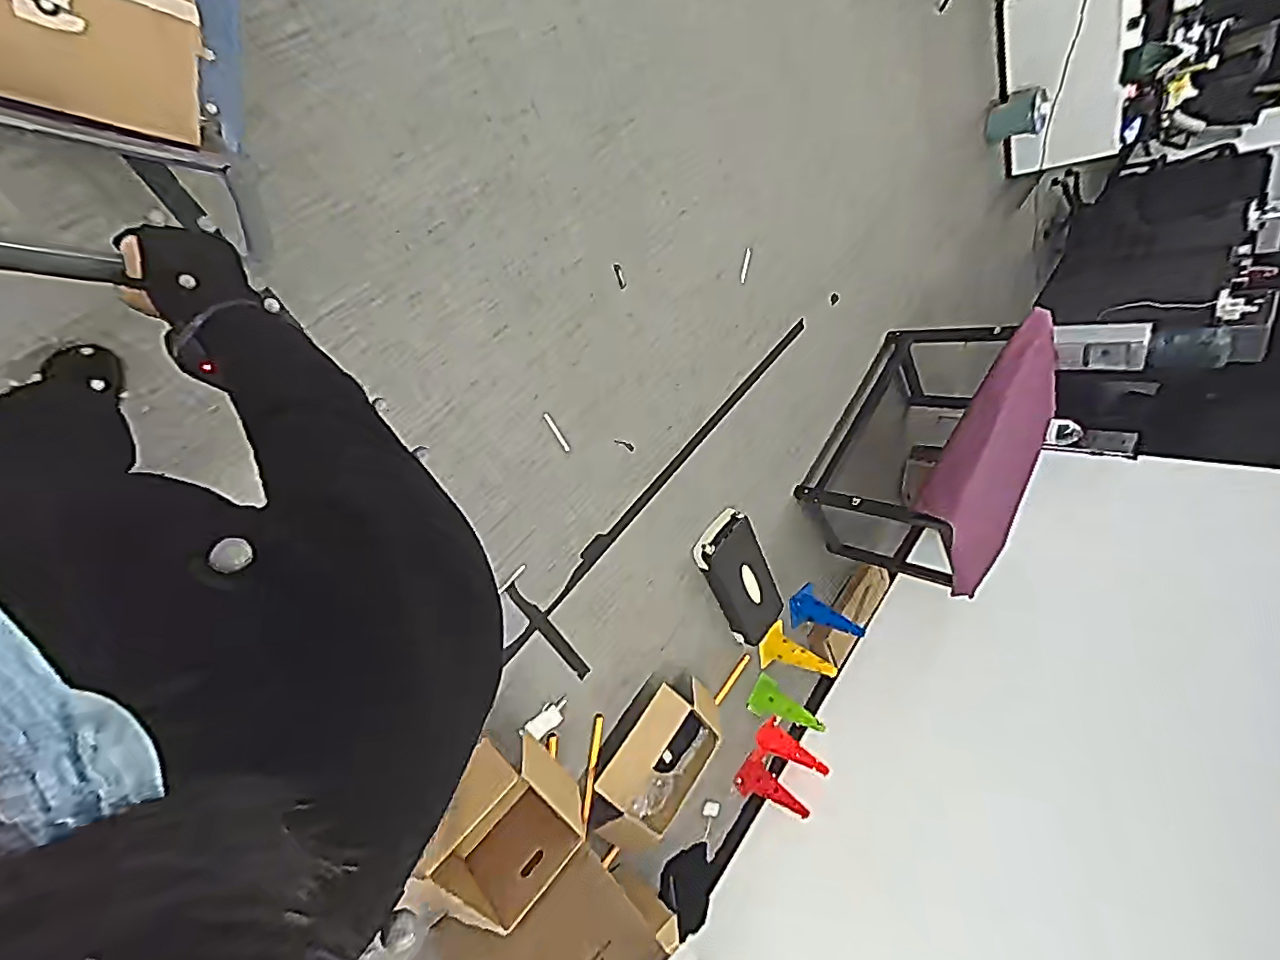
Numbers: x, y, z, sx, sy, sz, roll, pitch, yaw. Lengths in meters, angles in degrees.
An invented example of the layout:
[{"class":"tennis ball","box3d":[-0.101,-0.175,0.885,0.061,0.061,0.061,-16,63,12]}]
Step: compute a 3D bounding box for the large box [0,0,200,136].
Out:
[{"class":"large box","box3d":[-0.828,-0.678,0.671,0.408,0.320,0.320,-6,125,-42]}]
